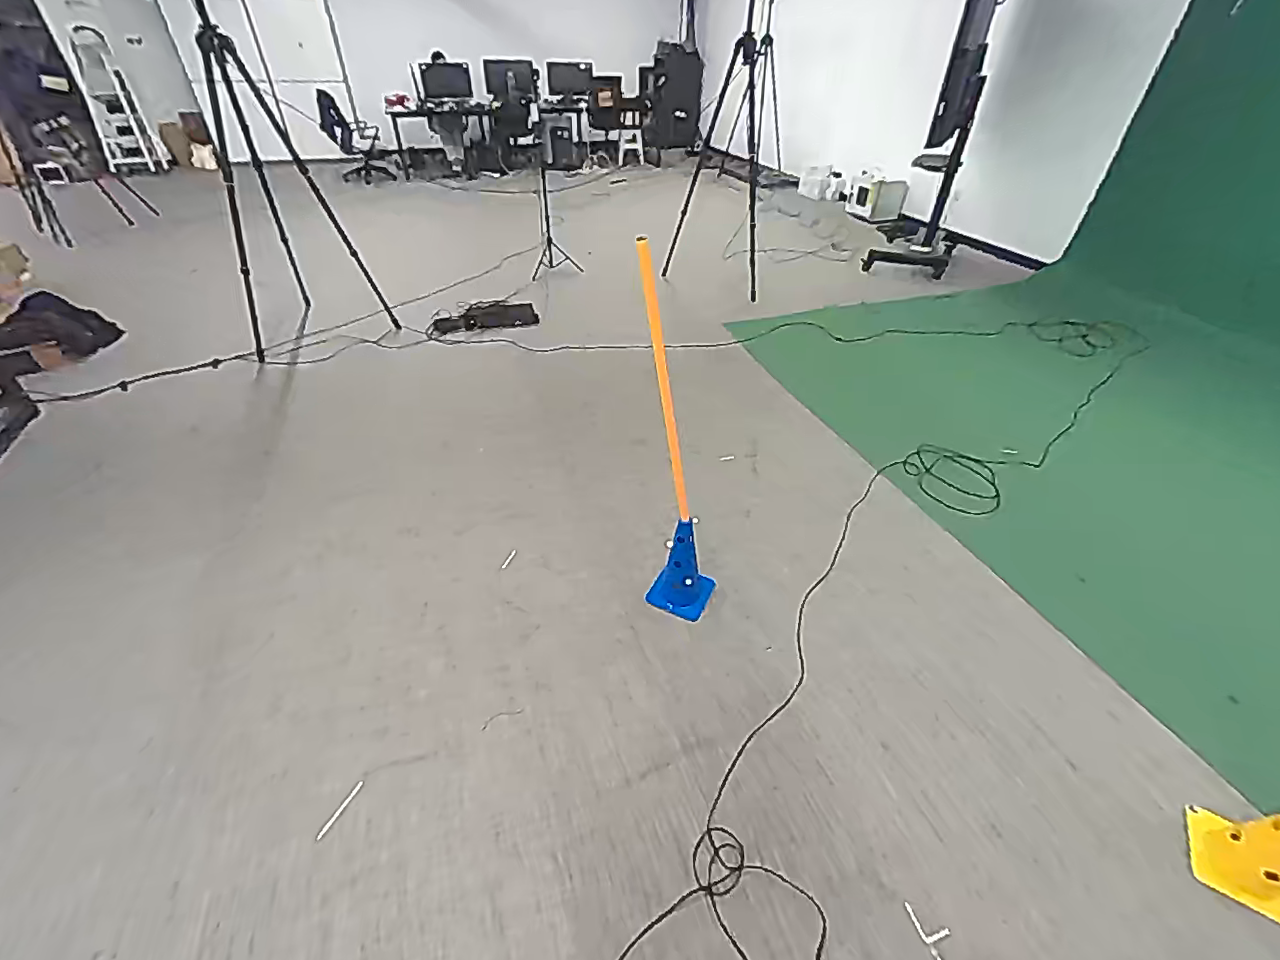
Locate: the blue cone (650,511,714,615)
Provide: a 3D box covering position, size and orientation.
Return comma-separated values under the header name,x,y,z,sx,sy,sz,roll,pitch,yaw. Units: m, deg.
name,x,y,z,sx,sy,sz,roll,pitch,yaw
blue cone,0.142,0.255,1.776,0.193,0.380,0.192,16,43,20
